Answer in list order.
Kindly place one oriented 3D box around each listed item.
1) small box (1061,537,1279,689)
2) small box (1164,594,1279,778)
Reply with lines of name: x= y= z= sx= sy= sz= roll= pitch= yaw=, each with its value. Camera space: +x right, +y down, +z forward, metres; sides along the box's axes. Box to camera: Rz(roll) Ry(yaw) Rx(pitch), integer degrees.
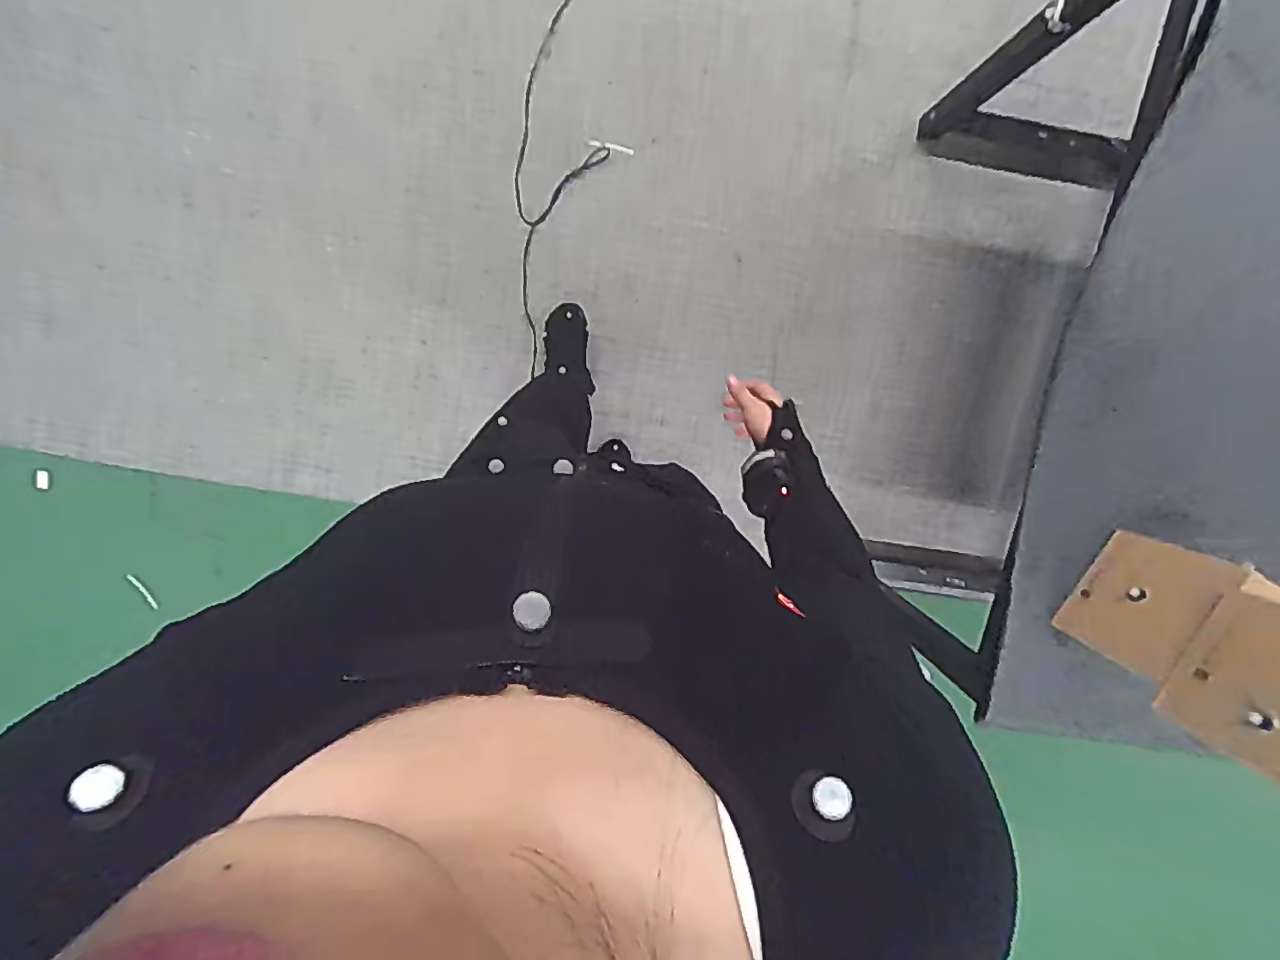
small box: x=0.718 y=0.192 z=0.706 sx=0.179 sy=0.176 sz=0.168 roll=29 pitch=98 yaw=-9
small box: x=0.713 y=0.238 z=0.550 sx=0.179 sy=0.176 sz=0.168 roll=24 pitch=100 yaw=-9
